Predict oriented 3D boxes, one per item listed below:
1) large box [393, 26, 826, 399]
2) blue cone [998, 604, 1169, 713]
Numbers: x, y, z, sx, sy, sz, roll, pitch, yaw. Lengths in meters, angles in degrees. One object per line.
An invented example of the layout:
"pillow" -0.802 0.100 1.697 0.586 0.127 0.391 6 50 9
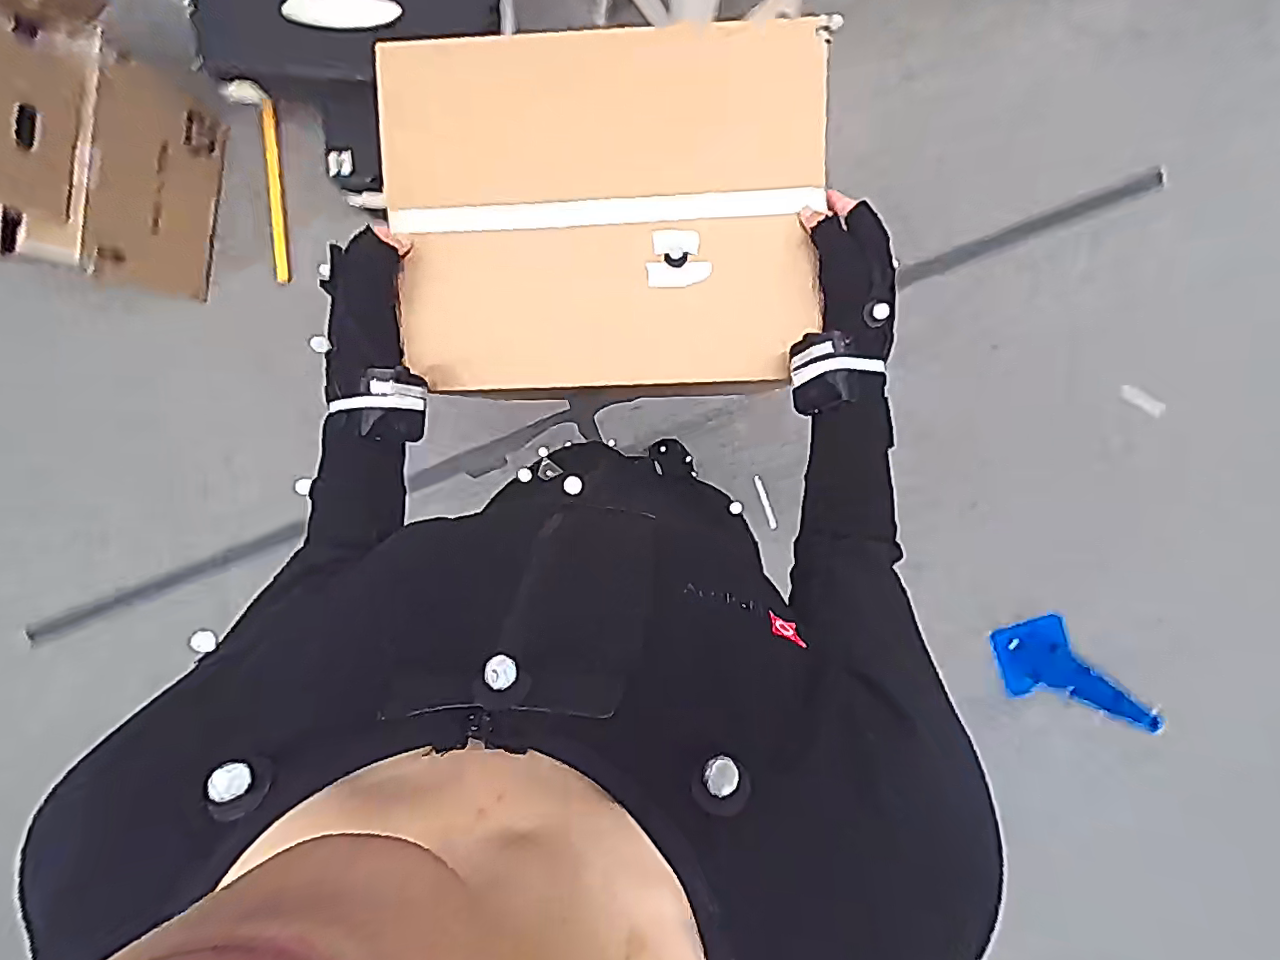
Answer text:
"large box" -0.024 -0.267 0.655 0.408 0.320 0.320 -1 97 2
"blue cone" 1.082 0.461 1.314 0.192 0.380 0.193 -18 94 2
